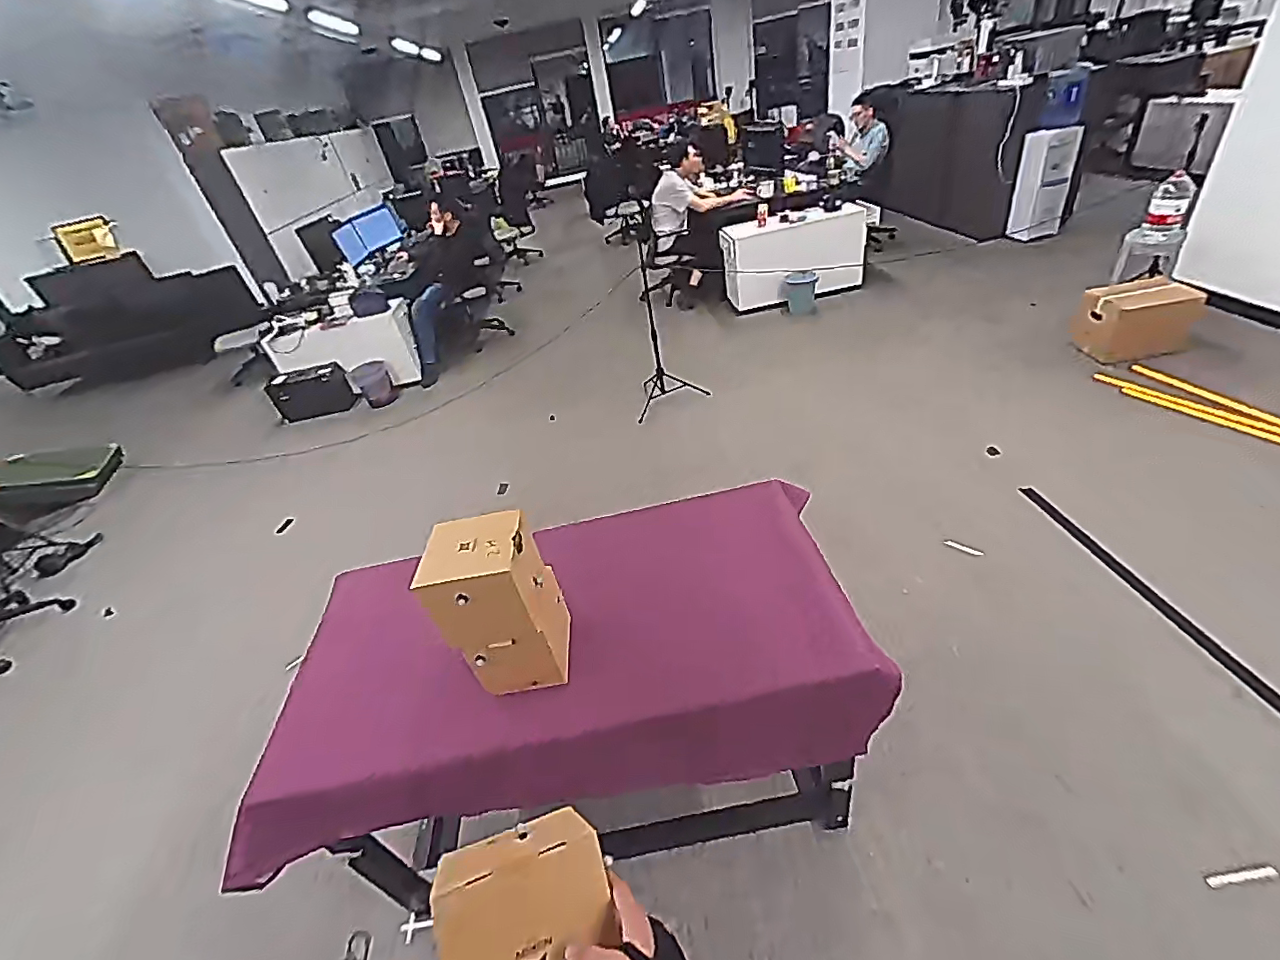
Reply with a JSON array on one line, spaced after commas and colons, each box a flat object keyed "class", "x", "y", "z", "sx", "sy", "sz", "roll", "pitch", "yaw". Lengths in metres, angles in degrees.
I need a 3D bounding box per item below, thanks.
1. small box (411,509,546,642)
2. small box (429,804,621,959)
[{"class": "small box", "x": -0.289, "y": 0.180, "z": 1.006, "sx": 0.179, "sy": 0.176, "sz": 0.168, "roll": -9, "pitch": 36, "yaw": 3}, {"class": "small box", "x": -0.122, "y": 0.480, "z": 0.583, "sx": 0.168, "sy": 0.176, "sz": 0.179, "roll": -10, "pitch": 70, "yaw": -20}]
